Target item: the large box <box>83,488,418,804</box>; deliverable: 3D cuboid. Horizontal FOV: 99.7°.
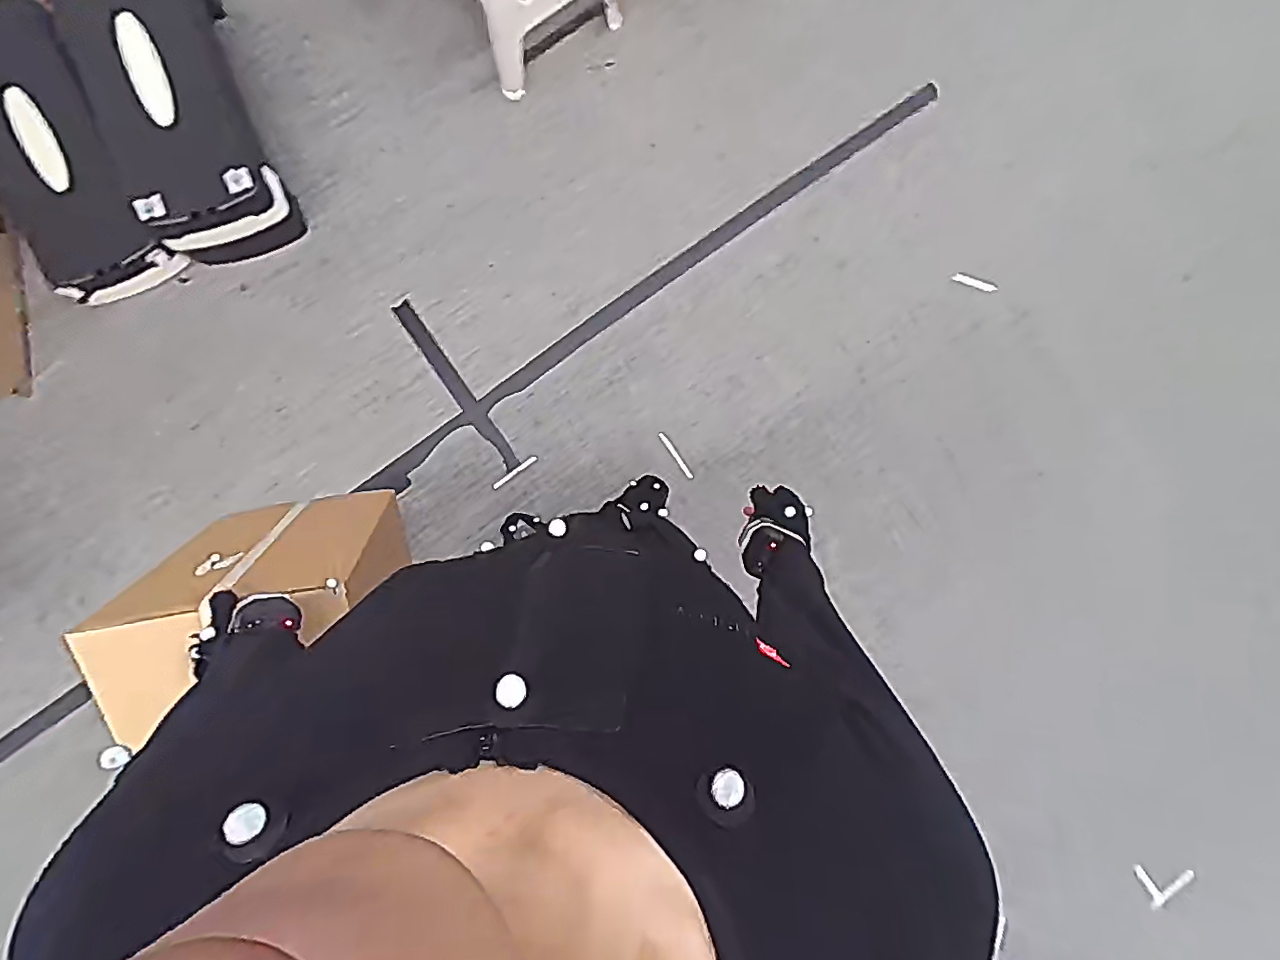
[{"bbox_3d":[-0.580,0.238,0.920,0.320,0.408,0.320,-9,110,-13],"label":"large box"}]
